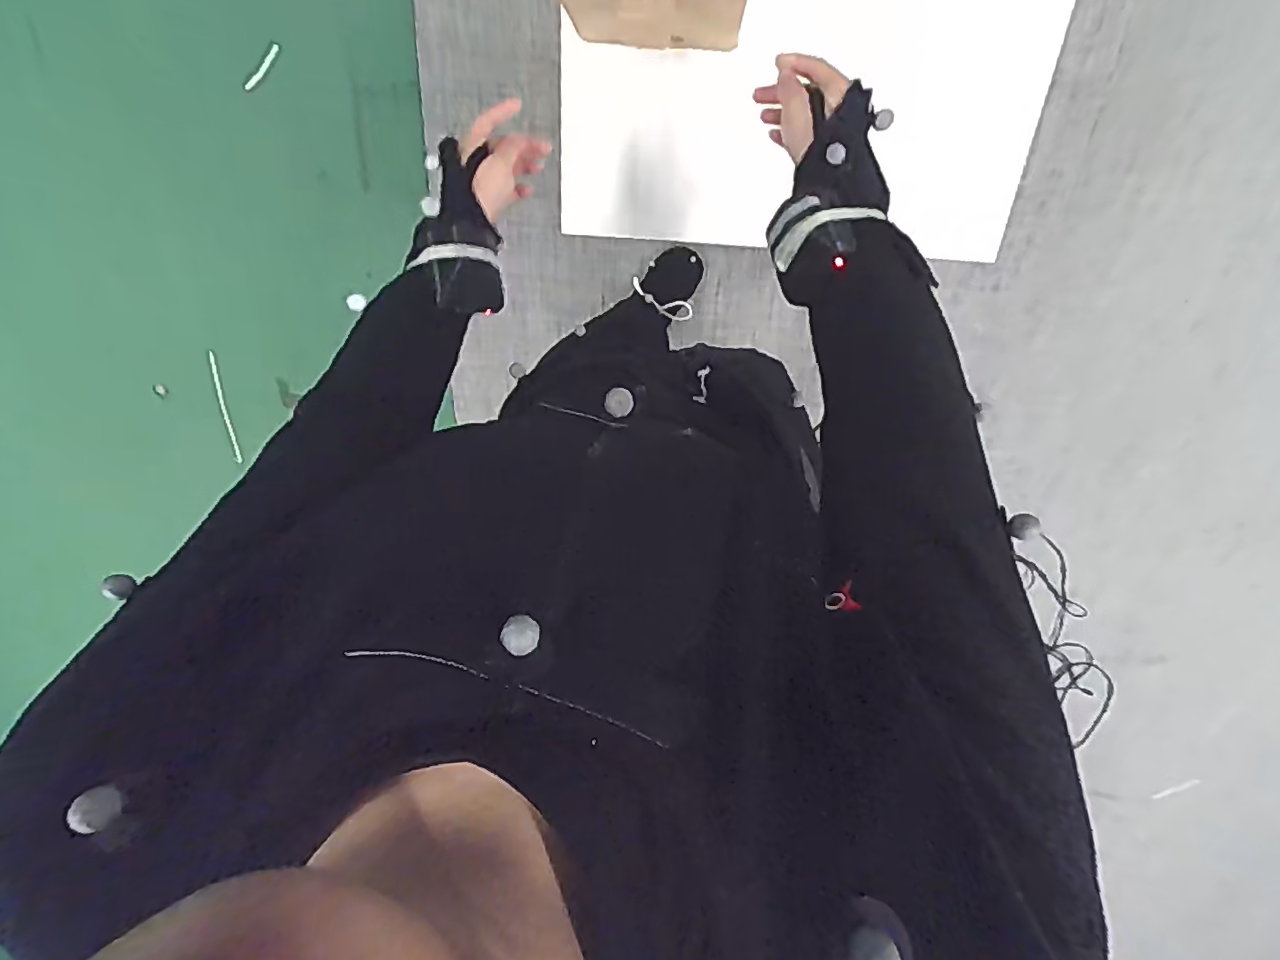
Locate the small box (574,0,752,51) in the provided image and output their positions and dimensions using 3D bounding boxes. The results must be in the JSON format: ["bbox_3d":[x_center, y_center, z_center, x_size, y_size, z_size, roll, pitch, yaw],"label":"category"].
[{"bbox_3d":[0.021,-0.500,0.457,0.168,0.176,0.179,6,116,2],"label":"small box"}]
